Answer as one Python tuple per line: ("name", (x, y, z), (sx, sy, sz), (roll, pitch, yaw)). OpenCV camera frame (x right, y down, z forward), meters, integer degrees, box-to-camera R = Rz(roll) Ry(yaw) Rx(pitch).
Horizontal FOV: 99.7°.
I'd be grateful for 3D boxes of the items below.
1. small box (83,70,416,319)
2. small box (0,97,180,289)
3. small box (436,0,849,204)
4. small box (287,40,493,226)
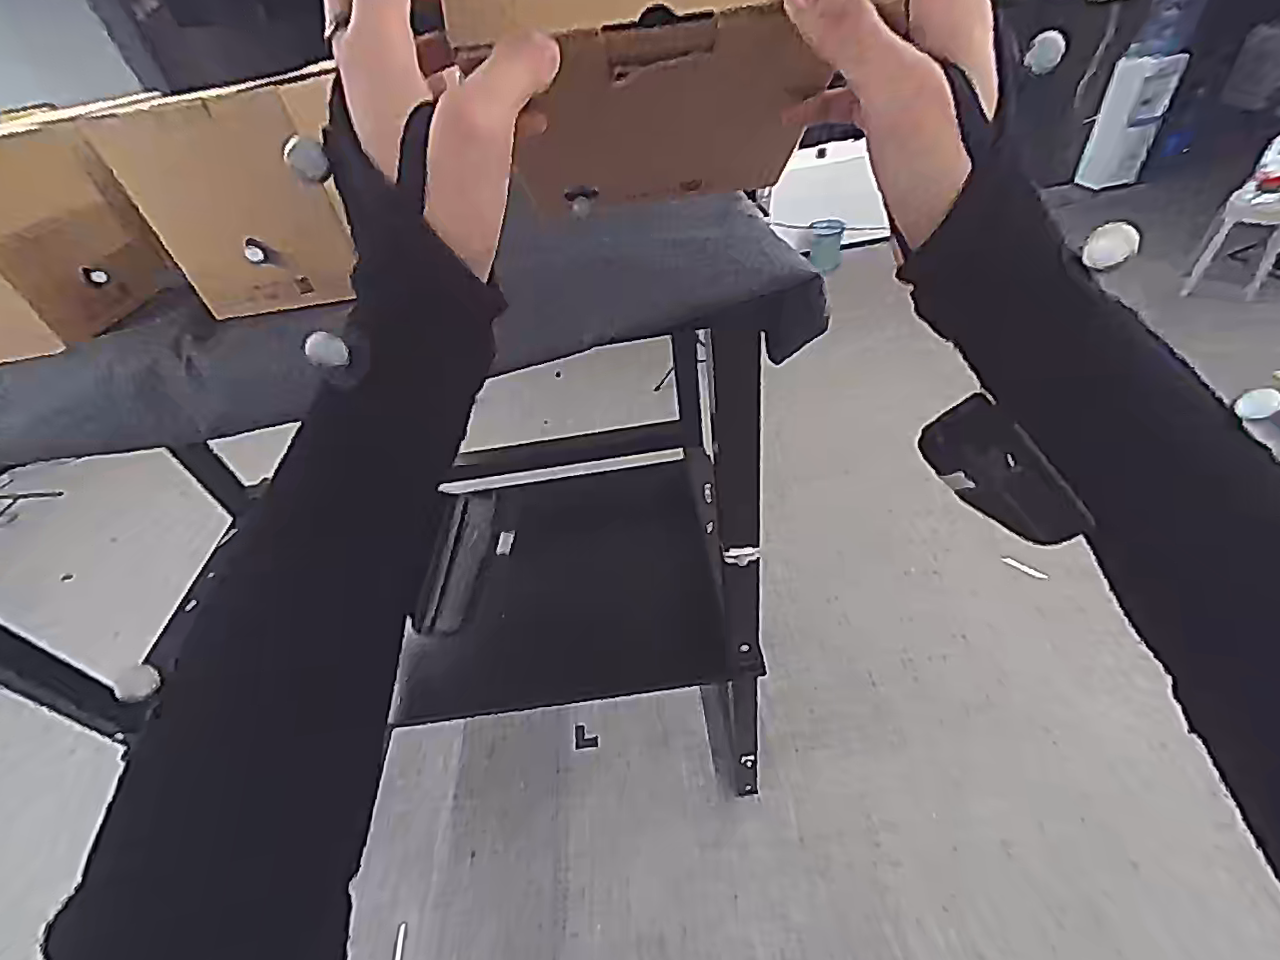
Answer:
("small box", (-0.345, -0.277, 0.528), (0.168, 0.176, 0.179), (-7, 42, 5))
("small box", (-0.691, -0.370, 0.703), (0.179, 0.176, 0.168), (-9, 43, 3))
("small box", (-0.004, -0.265, 0.282), (0.168, 0.179, 0.176), (-7, 5, 2))
("small box", (-0.295, -0.433, 0.686), (0.168, 0.176, 0.179), (-9, 43, 0))
